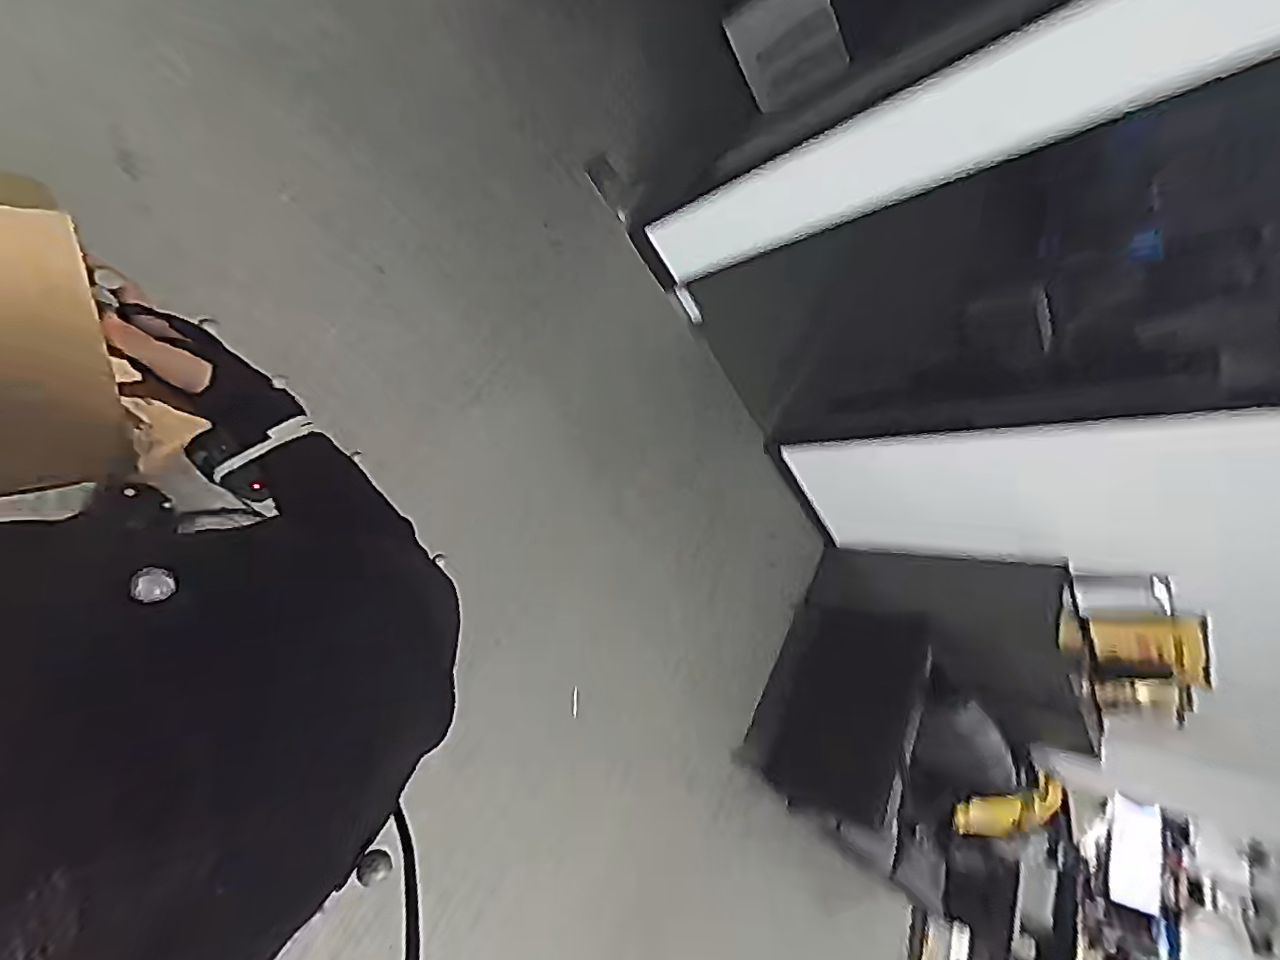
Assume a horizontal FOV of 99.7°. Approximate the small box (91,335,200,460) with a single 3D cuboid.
[{"bbox_3d":[-1.024,-0.155,1.060,0.168,0.176,0.179,53,56,-31],"label":"small box"}]
